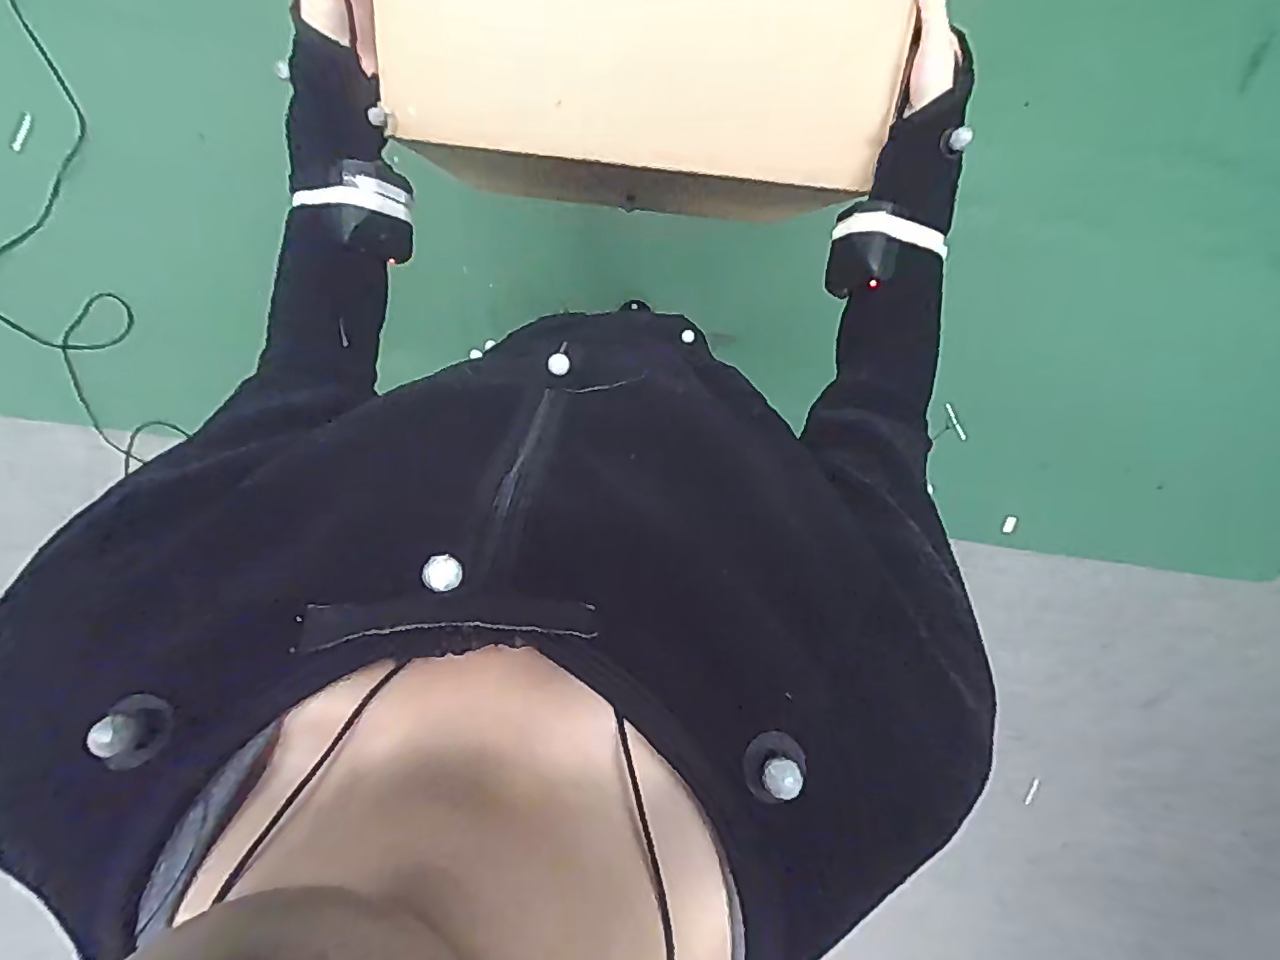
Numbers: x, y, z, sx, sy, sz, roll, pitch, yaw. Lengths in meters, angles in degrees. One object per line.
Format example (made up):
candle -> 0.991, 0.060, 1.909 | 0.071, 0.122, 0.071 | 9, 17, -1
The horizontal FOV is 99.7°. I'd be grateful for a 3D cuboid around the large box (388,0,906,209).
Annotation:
large box -> 0.007, -0.463, 0.534 | 0.408, 0.320, 0.320 | 3, 110, -4
